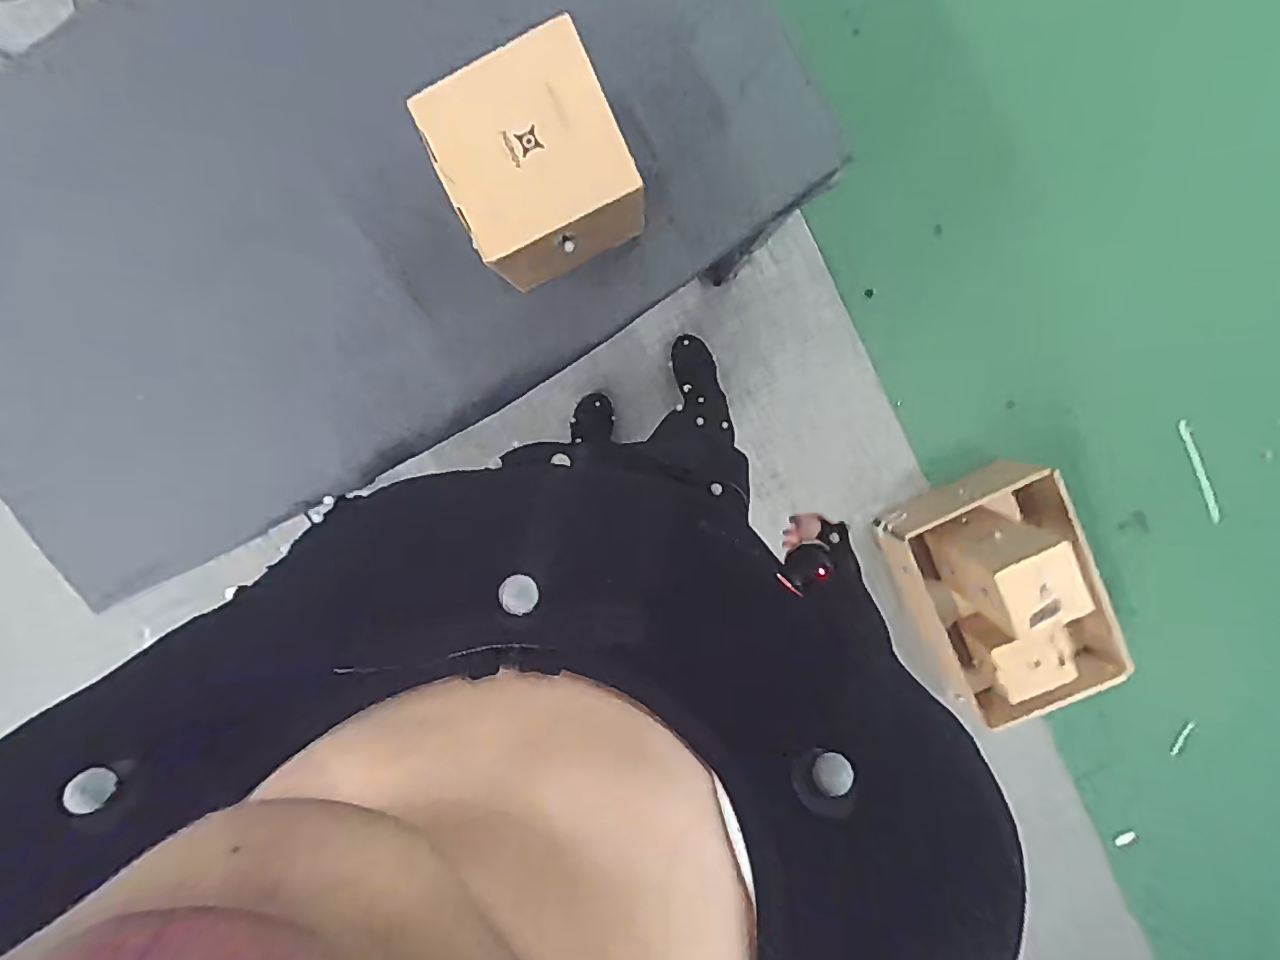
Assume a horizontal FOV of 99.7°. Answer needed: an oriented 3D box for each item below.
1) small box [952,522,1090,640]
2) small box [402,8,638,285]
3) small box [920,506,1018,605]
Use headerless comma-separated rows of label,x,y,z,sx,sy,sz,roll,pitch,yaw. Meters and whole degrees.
small box,0.845,0.218,1.214,0.168,0.176,0.179,-26,100,6
small box,-0.110,-0.331,0.583,0.179,0.176,0.168,-25,100,4
small box,0.850,0.182,1.374,0.168,0.176,0.179,-27,101,7
